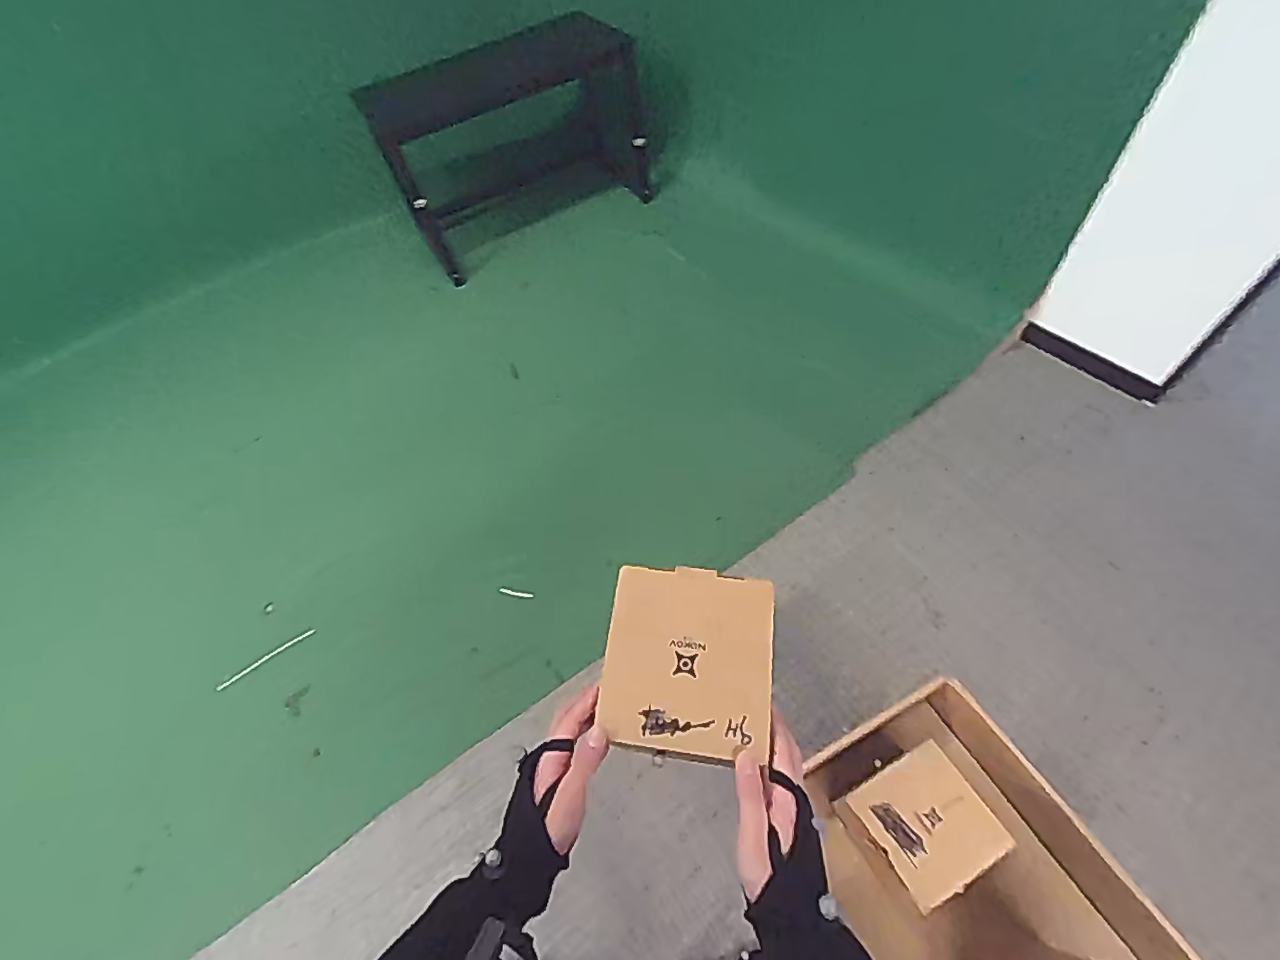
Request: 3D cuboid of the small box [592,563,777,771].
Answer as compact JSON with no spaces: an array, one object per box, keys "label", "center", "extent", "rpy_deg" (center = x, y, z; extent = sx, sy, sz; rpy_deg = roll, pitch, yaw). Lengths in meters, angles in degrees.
[{"label":"small box","center":[0.054,0.210,0.597],"extent":[0.168,0.176,0.179],"rpy_deg":[5,62,9]}]
